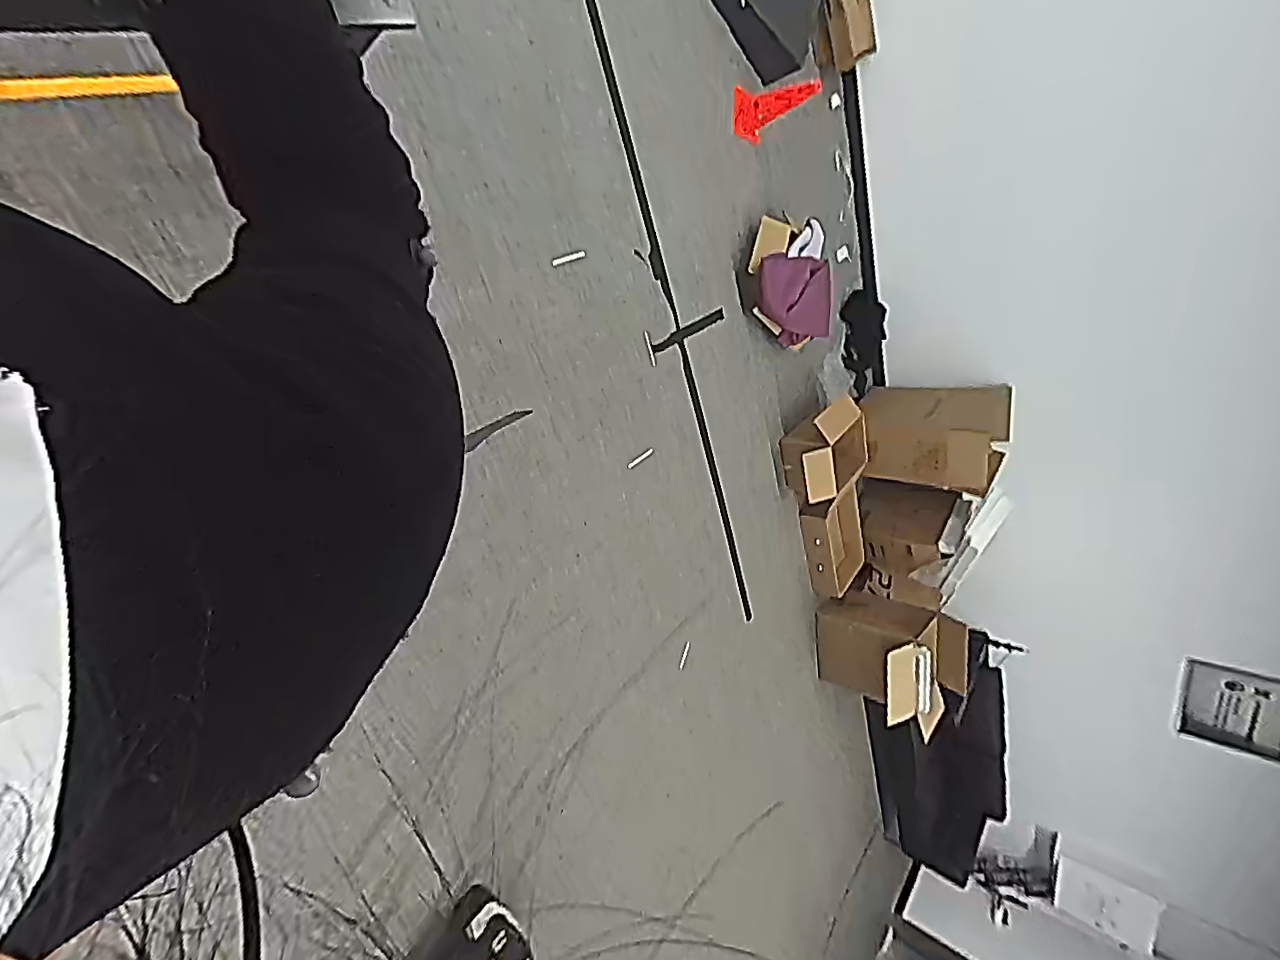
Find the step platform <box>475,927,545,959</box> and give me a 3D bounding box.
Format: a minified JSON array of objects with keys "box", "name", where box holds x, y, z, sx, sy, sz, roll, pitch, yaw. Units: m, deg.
[{"box":[-0.525,1.661,1.491,0.684,0.204,0.286,-39,123,-35],"name":"step platform"}]
